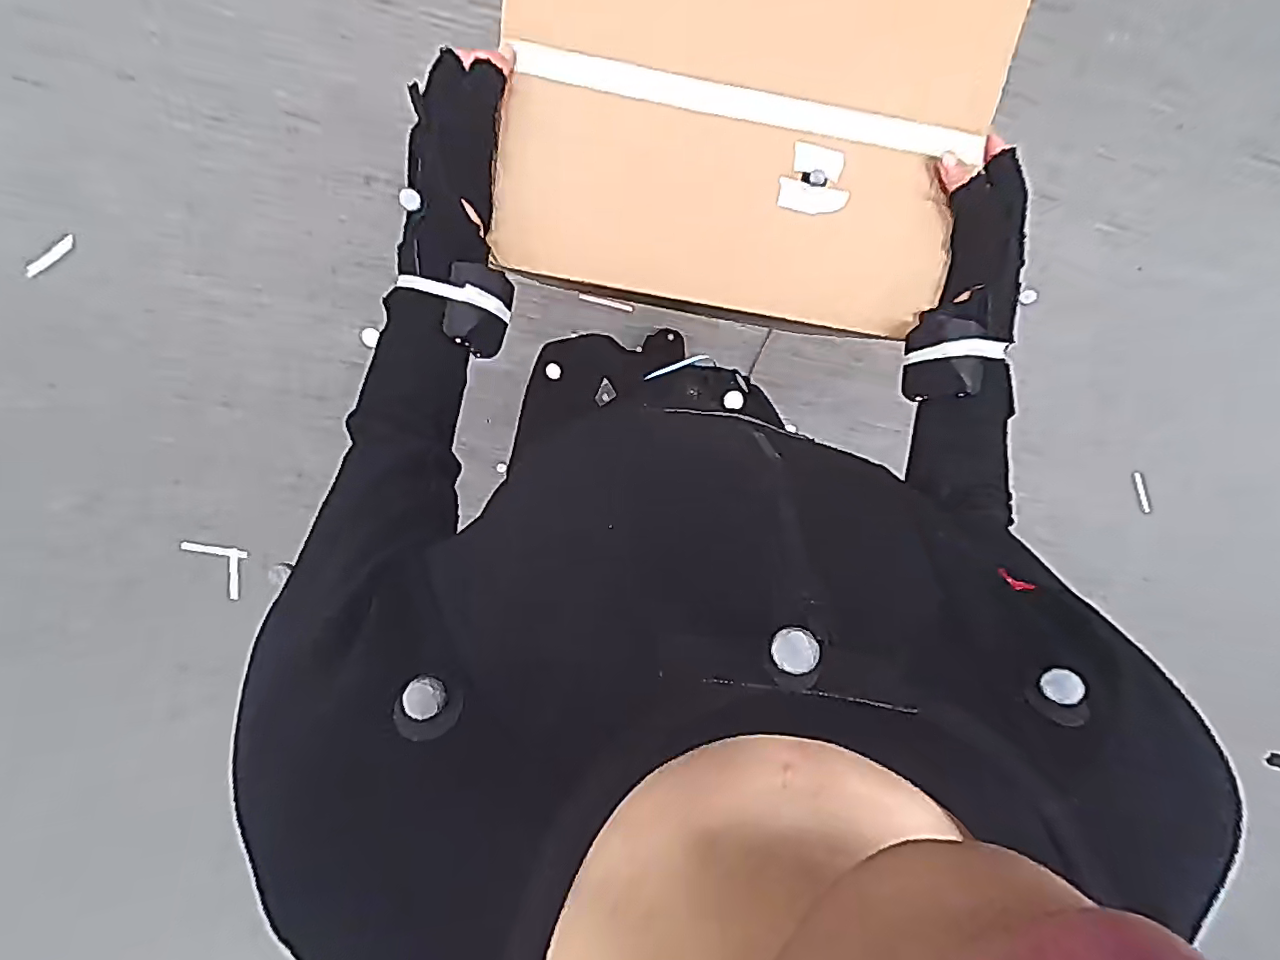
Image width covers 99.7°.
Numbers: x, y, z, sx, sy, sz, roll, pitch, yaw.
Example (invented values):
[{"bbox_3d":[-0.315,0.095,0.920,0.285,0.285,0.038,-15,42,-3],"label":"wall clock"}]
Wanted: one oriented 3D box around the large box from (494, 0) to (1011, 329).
[{"bbox_3d":[0.082,-0.358,0.596,0.408,0.320,0.320,9,107,-5],"label":"large box"}]
